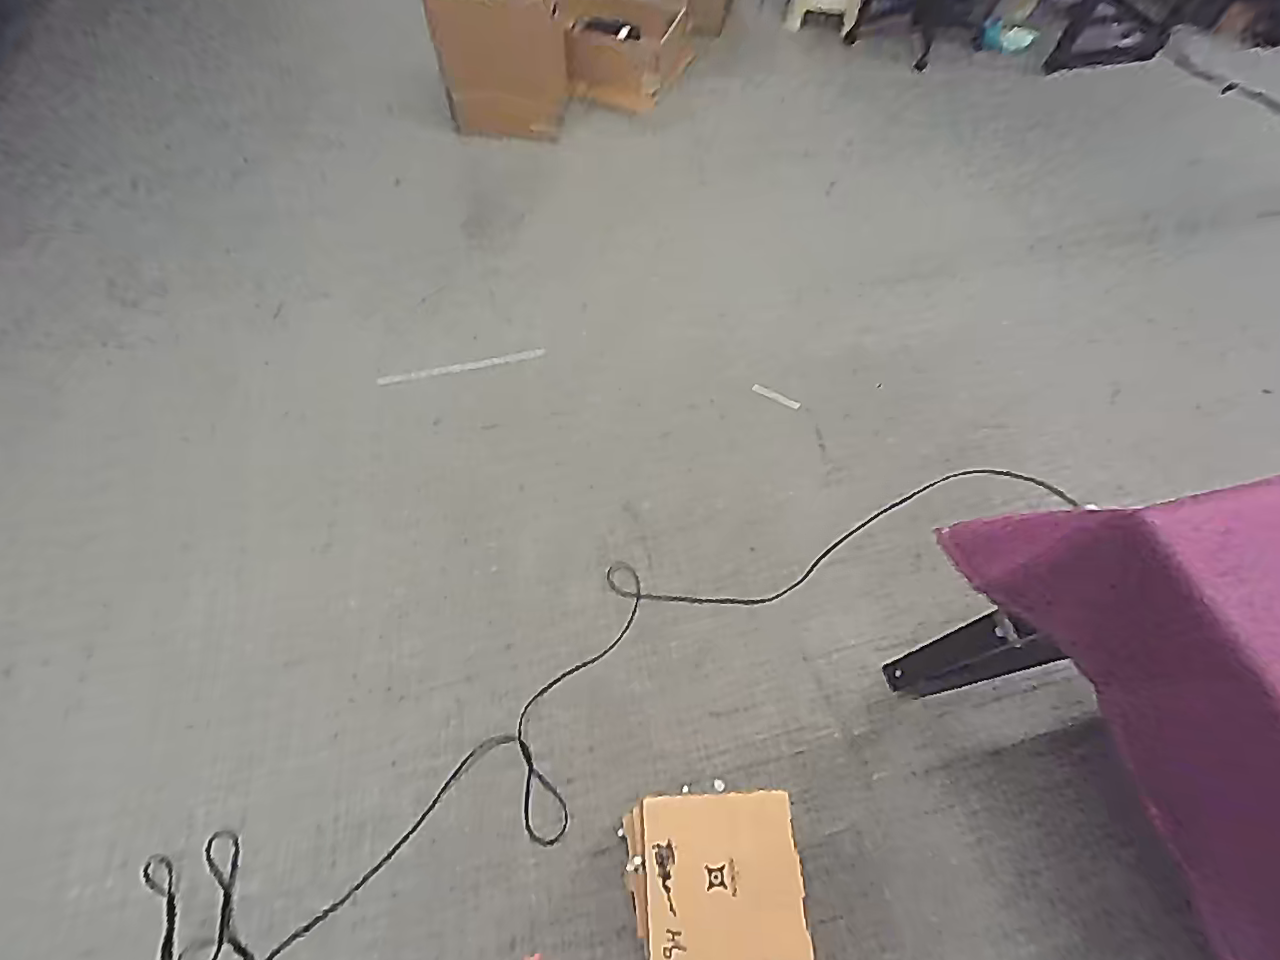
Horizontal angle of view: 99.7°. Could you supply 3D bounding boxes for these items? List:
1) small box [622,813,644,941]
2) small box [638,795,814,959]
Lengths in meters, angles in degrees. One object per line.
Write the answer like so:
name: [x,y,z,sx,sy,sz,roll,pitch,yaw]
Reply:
small box: [0.067,0.671,0.948,0.179,0.176,0.168,-8,61,-7]
small box: [0.092,0.491,0.672,0.179,0.176,0.168,-2,60,-3]
